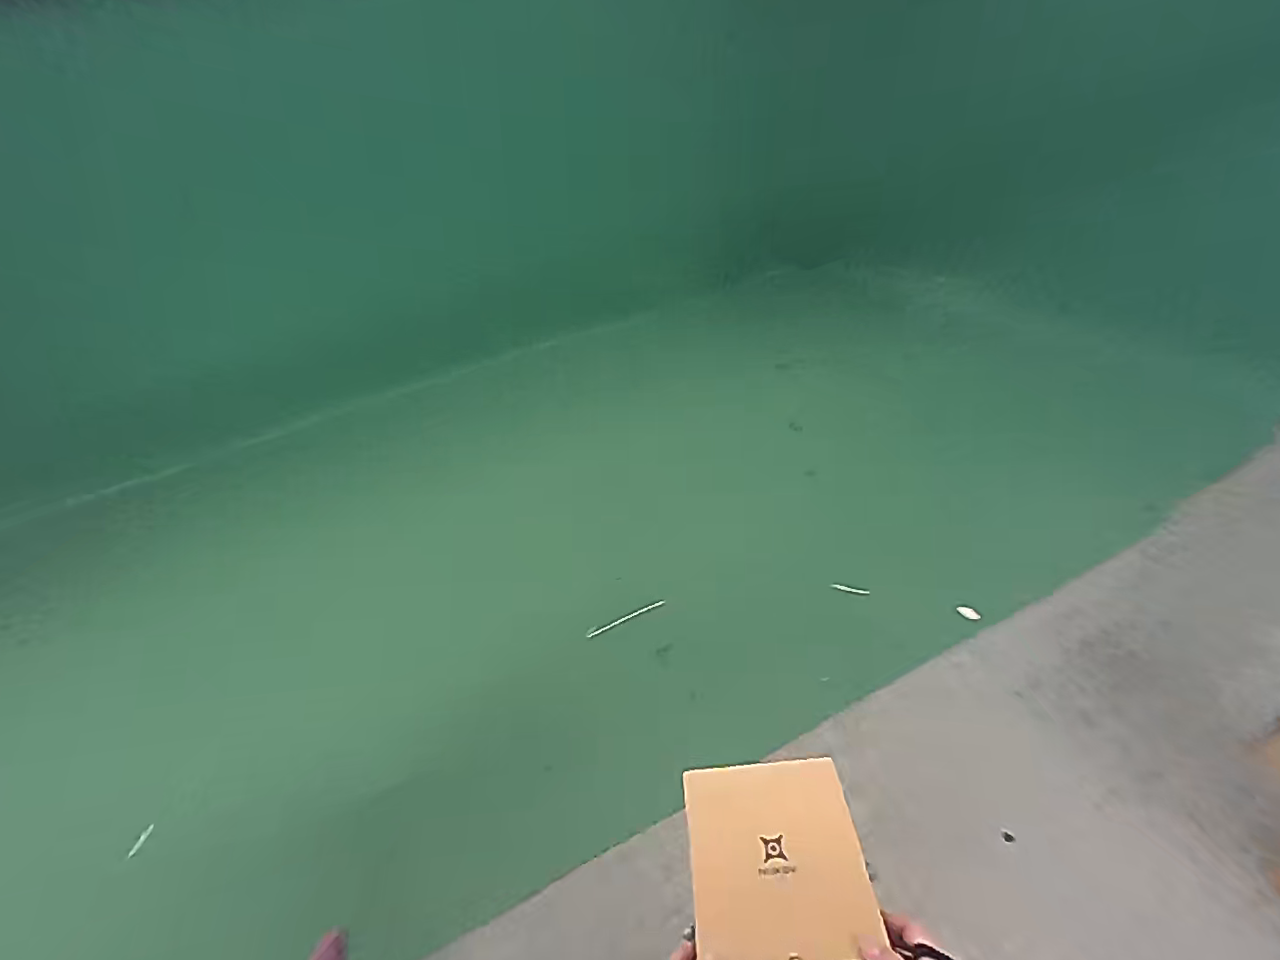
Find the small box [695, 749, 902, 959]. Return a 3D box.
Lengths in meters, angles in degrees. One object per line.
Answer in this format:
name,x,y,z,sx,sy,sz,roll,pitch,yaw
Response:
small box,0.149,0.415,0.571,0.168,0.176,0.179,-7,37,4
